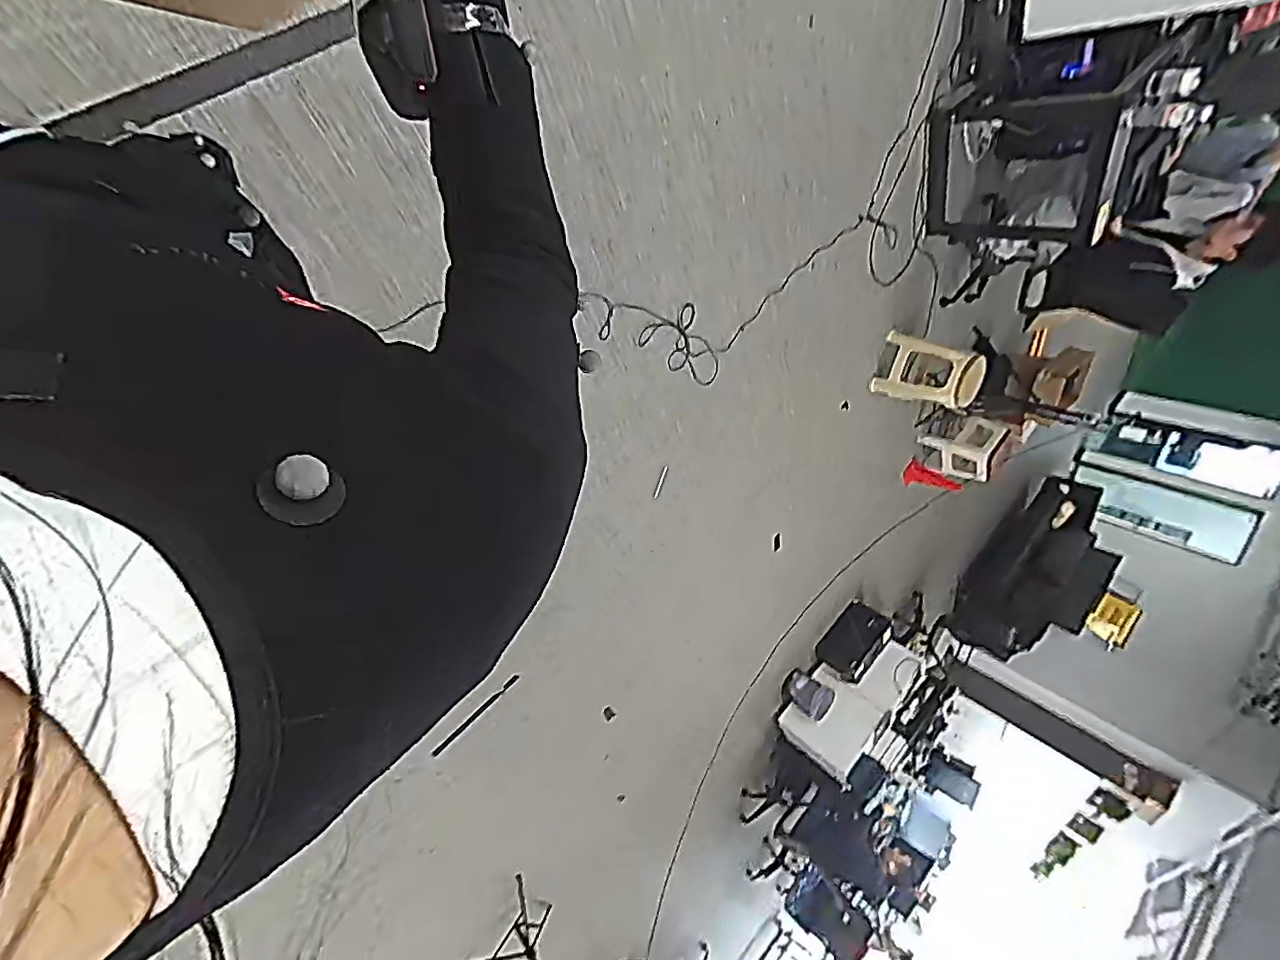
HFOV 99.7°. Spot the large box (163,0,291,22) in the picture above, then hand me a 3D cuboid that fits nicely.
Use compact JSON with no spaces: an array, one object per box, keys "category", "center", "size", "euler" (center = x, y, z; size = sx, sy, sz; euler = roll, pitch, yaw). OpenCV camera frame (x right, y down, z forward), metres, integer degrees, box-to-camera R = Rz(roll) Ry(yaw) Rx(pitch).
[{"category":"large box","center":[-0.394,-0.454,0.225],"size":[0.408,0.320,0.320],"euler":[-16,126,-37]}]
